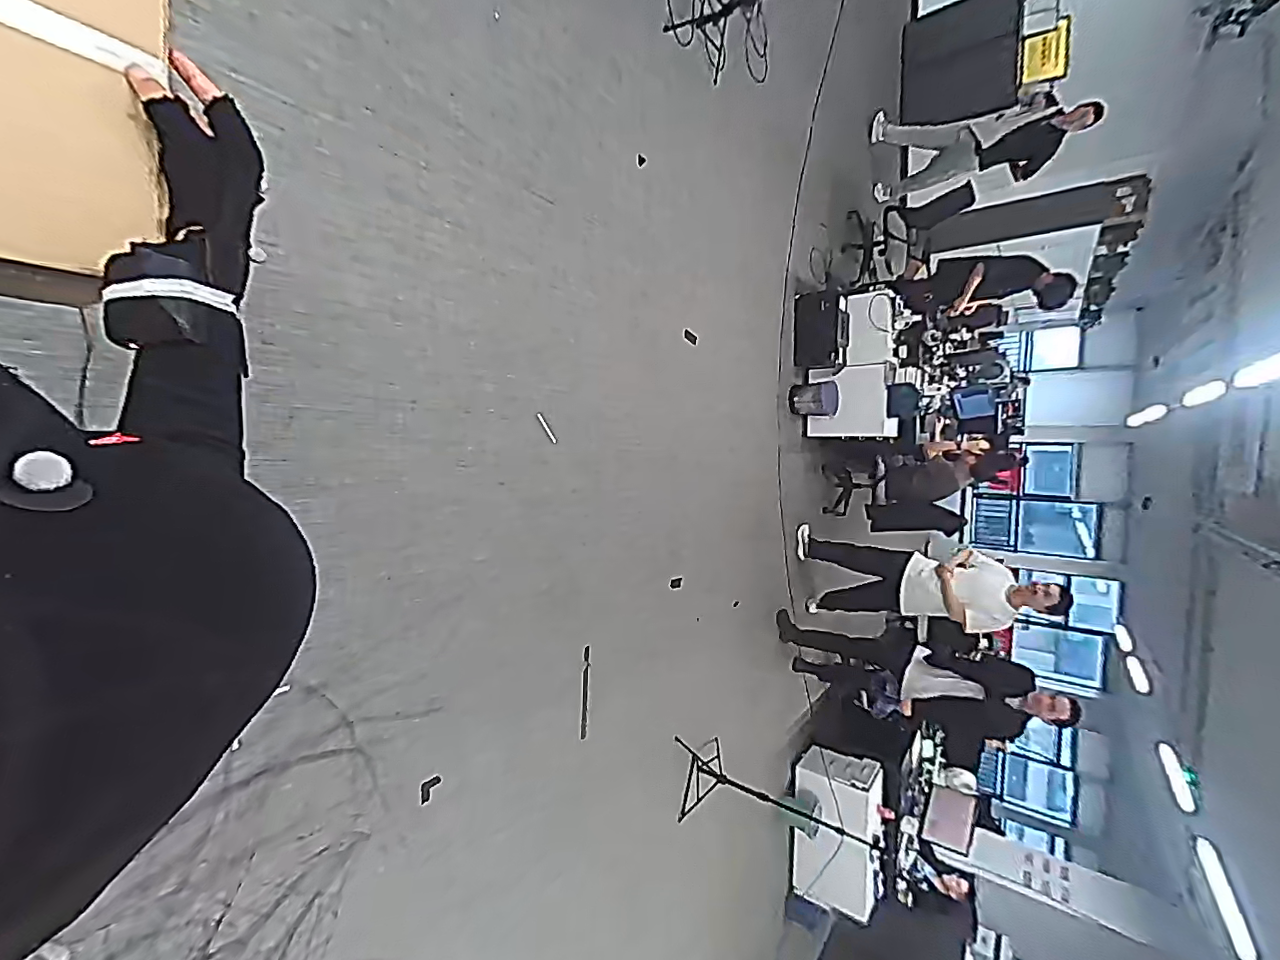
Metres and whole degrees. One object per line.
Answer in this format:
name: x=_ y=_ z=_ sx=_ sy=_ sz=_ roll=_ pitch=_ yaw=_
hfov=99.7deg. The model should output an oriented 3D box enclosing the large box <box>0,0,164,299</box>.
large box: x=-0.613 y=-0.318 z=0.340 sx=0.408 sy=0.320 sz=0.320 roll=-5 pitch=103 yaw=-56
